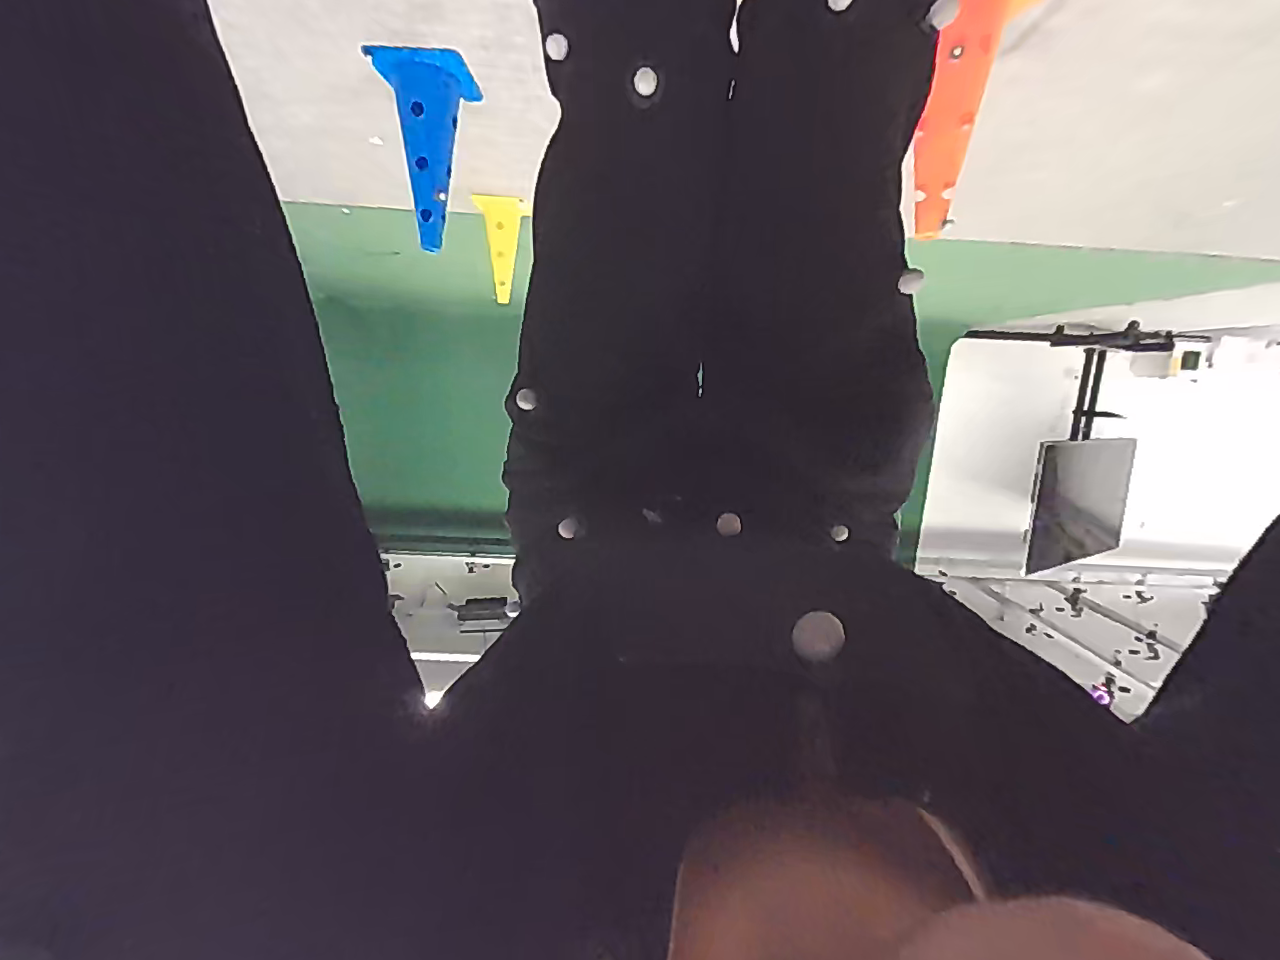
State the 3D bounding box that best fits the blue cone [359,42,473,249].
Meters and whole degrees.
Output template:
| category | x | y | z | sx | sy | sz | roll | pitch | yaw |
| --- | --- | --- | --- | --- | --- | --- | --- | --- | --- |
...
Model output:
| category | x | y | z | sx | sy | sz | roll | pitch | yaw |
| --- | --- | --- | --- | --- | --- | --- | --- | --- | --- |
| blue cone | -0.476 | -0.709 | 1.185 | 0.192 | 0.380 | 0.193 | 3 | -170 | -1 |
